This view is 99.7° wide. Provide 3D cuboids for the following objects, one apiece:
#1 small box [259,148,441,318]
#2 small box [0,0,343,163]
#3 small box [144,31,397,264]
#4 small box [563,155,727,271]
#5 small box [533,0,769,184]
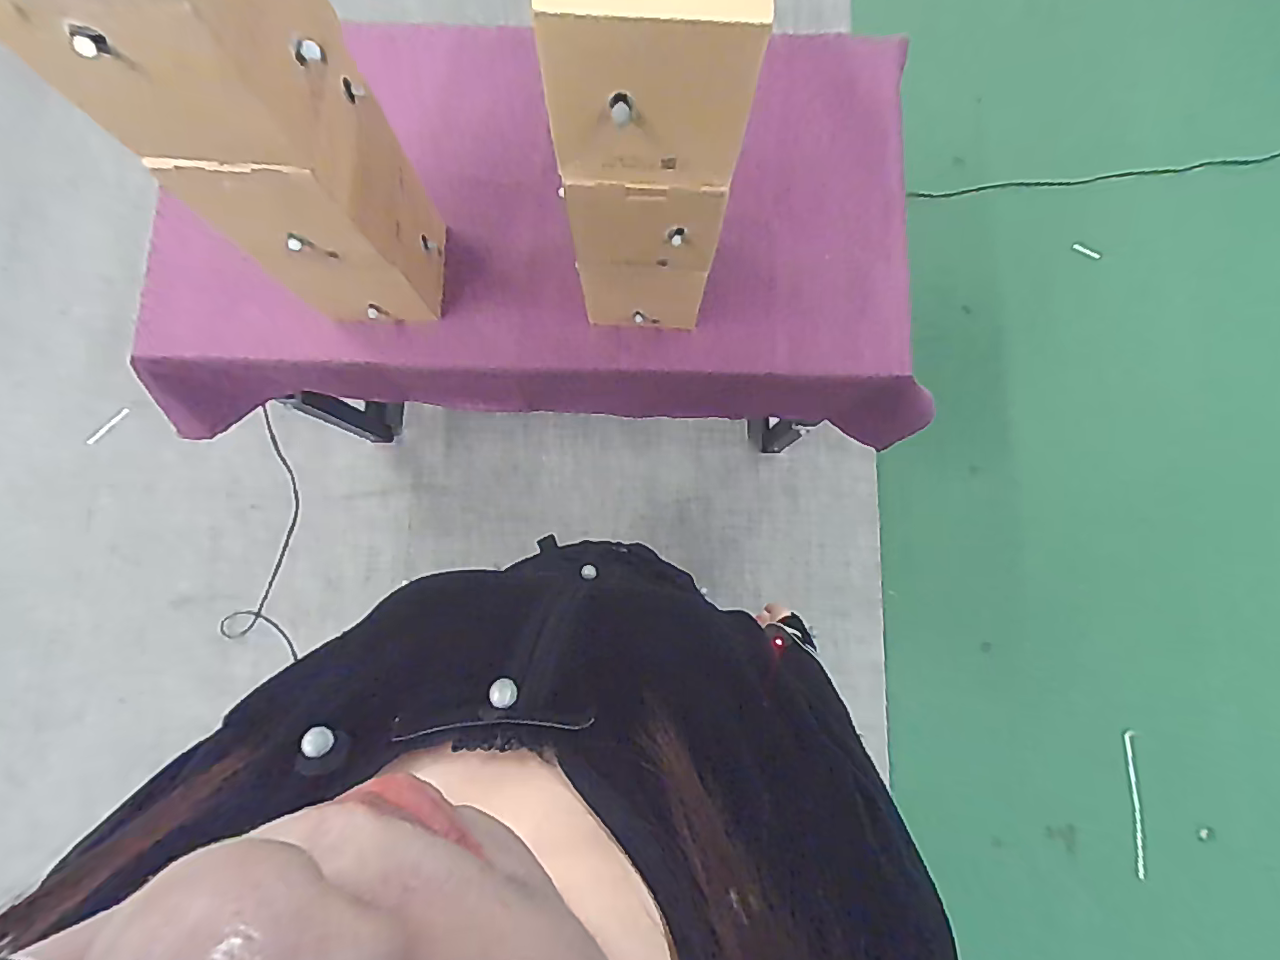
[{"bbox_3d":[-0.398,-0.345,0.774,0.179,0.176,0.168,0,82,-2],"label":"small box"},{"bbox_3d":[-0.385,-0.396,0.449,0.179,0.176,0.168,3,82,-2],"label":"small box"},{"bbox_3d":[-0.394,-0.373,0.612,0.168,0.176,0.179,2,82,-1],"label":"small box"},{"bbox_3d":[0.008,-0.360,0.620,0.168,0.176,0.179,2,82,-1],"label":"small box"},{"bbox_3d":[0.010,-0.383,0.459,0.168,0.176,0.179,2,82,-1],"label":"small box"}]
